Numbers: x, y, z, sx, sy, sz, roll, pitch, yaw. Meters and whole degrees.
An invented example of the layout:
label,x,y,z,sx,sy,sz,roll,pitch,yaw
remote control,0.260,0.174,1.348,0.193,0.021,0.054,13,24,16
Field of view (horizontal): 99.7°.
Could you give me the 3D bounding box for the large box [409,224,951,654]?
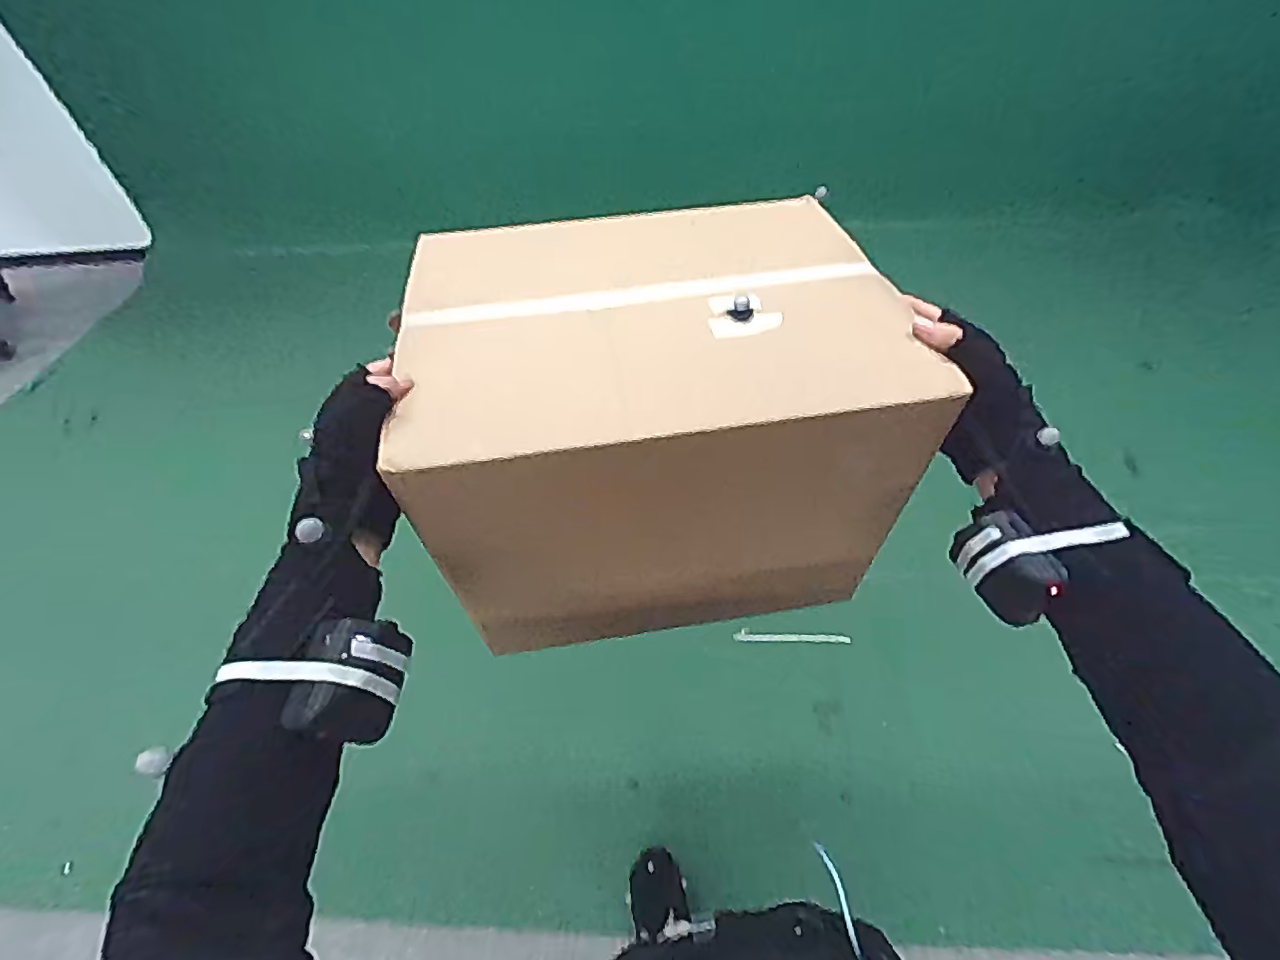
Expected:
label,x,y,z,sx,sy,sz,roll,pitch,yaw
large box,0.014,-0.044,0.587,0.408,0.320,0.320,-7,51,-5
